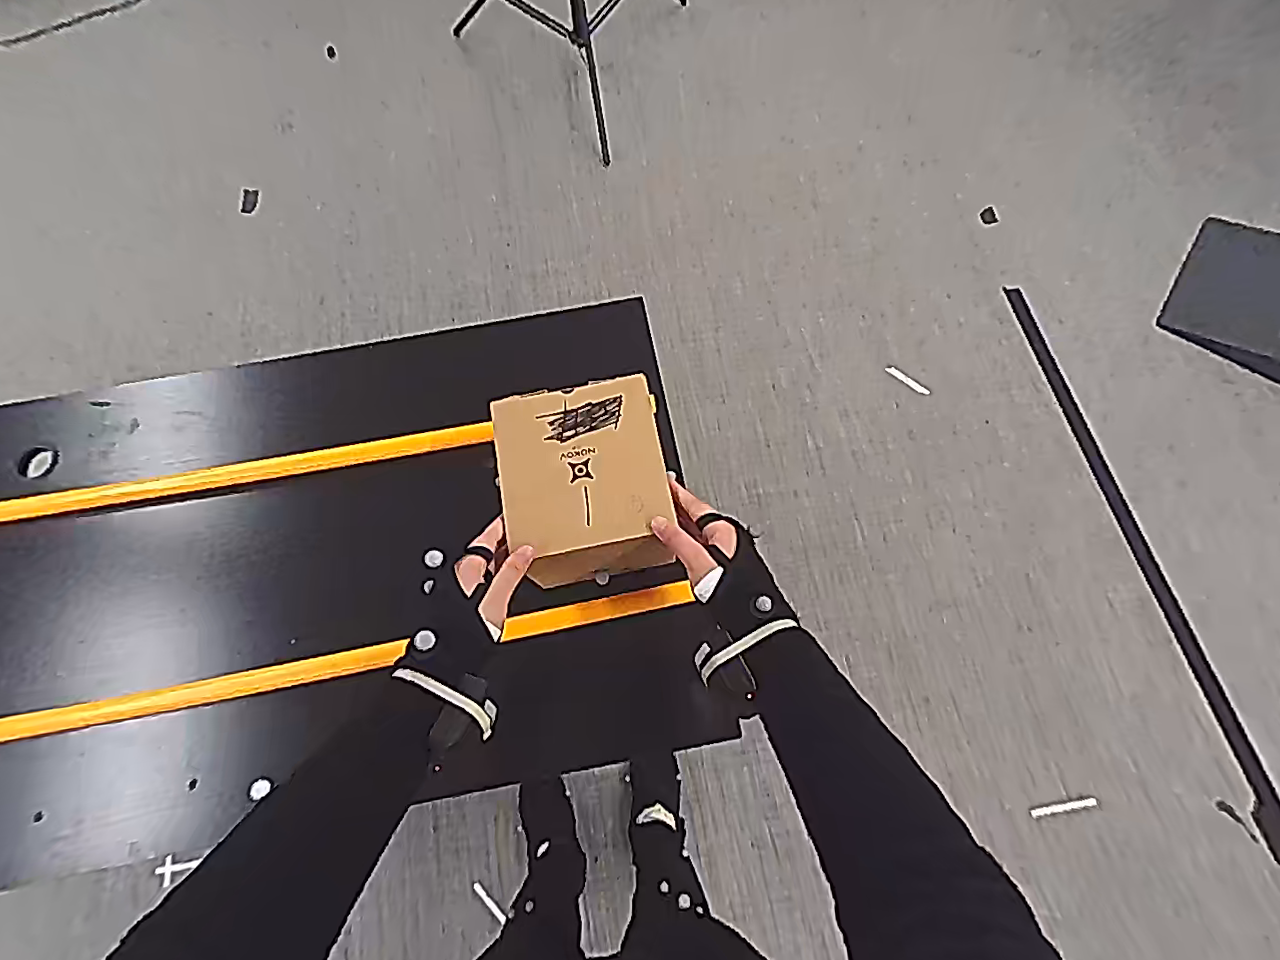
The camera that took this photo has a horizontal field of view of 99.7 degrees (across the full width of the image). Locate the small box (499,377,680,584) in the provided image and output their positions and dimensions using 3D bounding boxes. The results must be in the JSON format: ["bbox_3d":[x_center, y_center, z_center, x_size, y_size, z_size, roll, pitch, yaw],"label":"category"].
[{"bbox_3d":[-0.054,0.010,0.625,0.168,0.176,0.179,-11,71,-2],"label":"small box"}]
